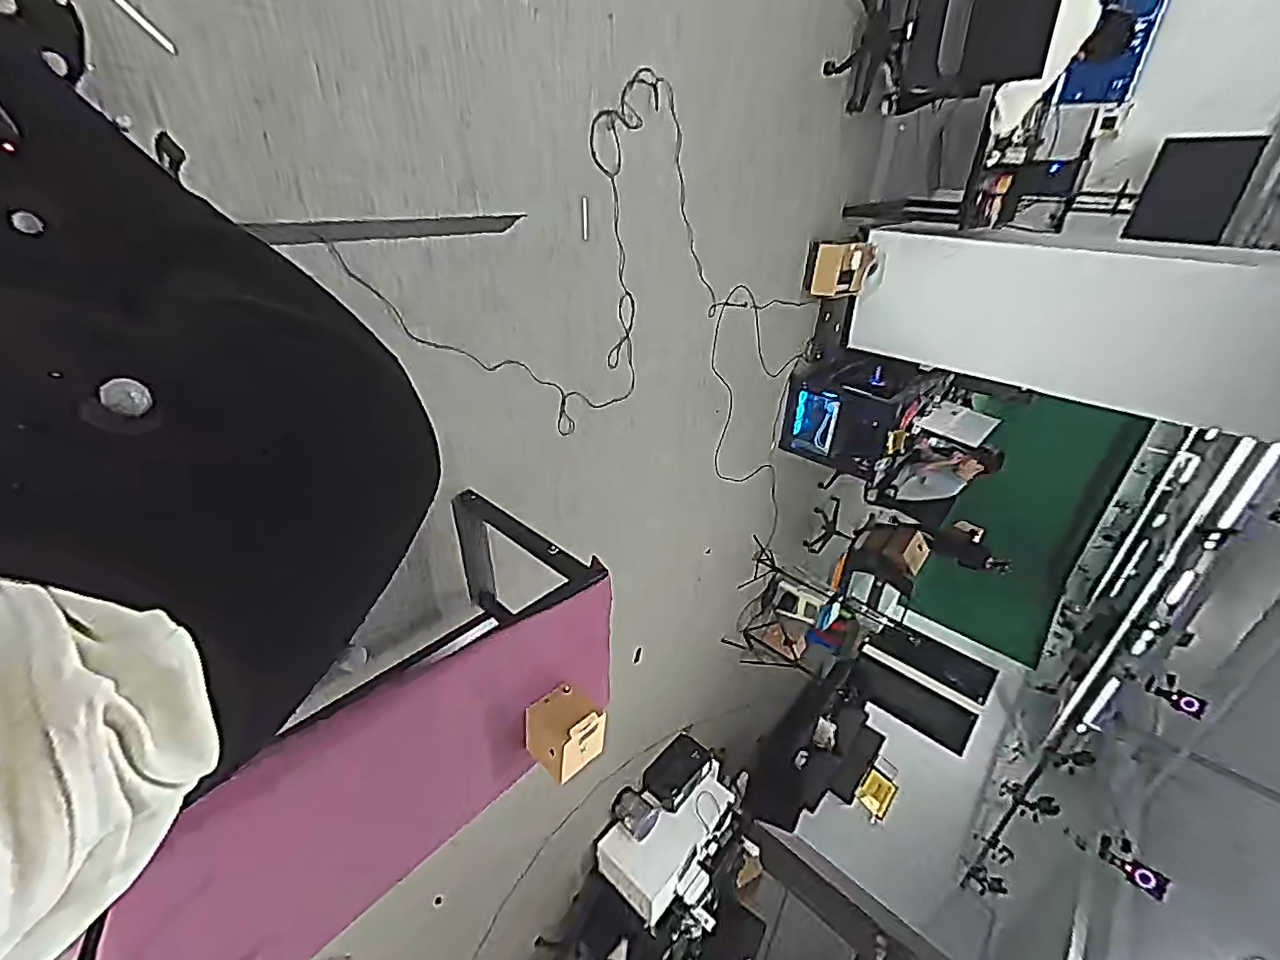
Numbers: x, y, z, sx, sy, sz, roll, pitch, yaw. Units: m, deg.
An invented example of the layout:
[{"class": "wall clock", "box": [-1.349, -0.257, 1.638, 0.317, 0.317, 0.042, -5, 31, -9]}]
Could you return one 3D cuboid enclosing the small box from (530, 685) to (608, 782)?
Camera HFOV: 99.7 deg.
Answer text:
[{"class": "small box", "box": [-0.216, 0.747, 1.621, 0.168, 0.176, 0.179, -22, 127, -43]}]
